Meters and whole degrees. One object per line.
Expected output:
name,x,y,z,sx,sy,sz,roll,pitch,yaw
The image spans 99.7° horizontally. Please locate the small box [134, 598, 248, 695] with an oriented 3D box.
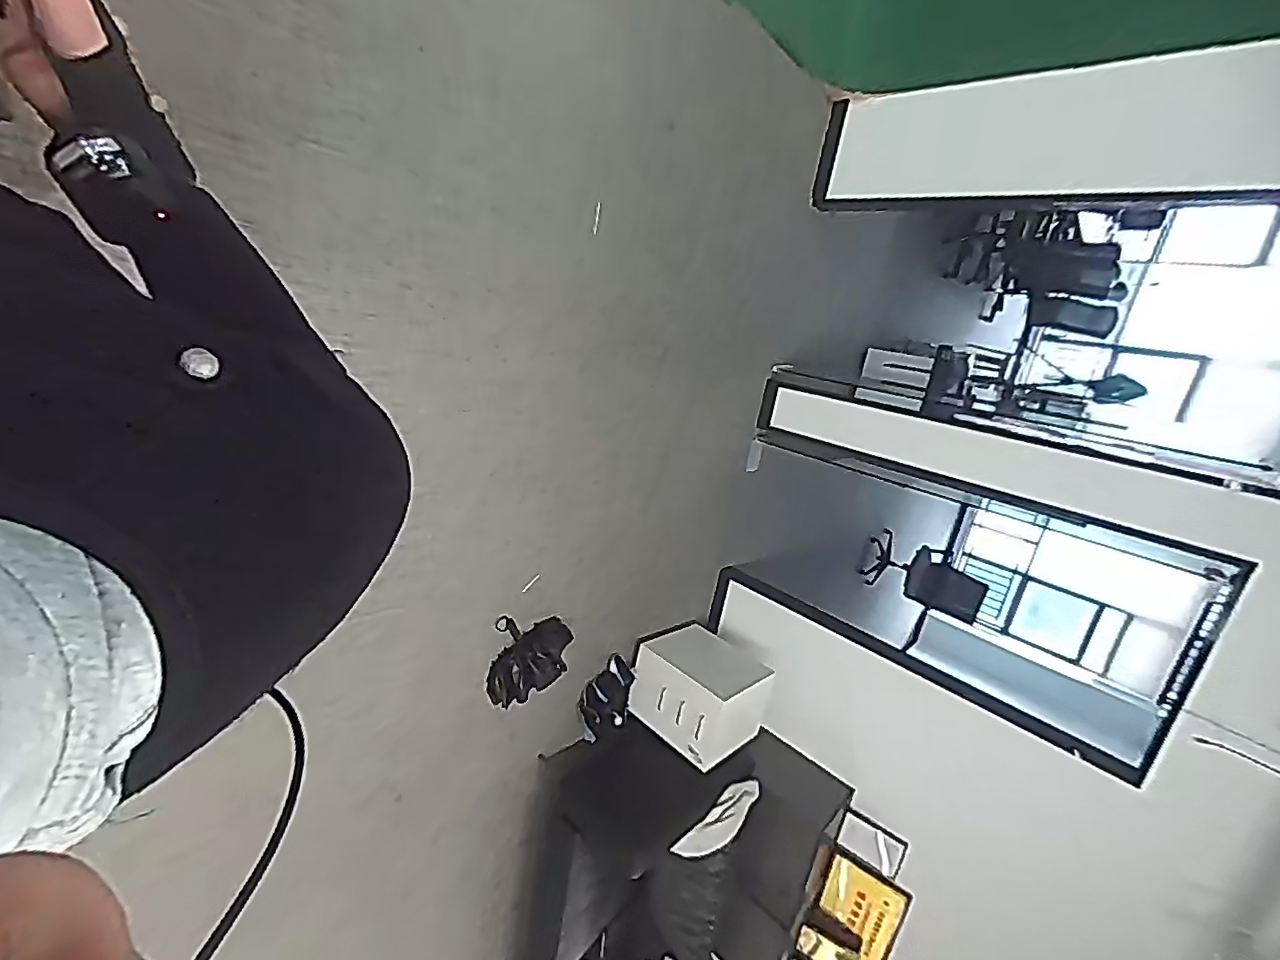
small box,-1.123,0.405,1.350,0.179,0.176,0.168,10,98,-51
